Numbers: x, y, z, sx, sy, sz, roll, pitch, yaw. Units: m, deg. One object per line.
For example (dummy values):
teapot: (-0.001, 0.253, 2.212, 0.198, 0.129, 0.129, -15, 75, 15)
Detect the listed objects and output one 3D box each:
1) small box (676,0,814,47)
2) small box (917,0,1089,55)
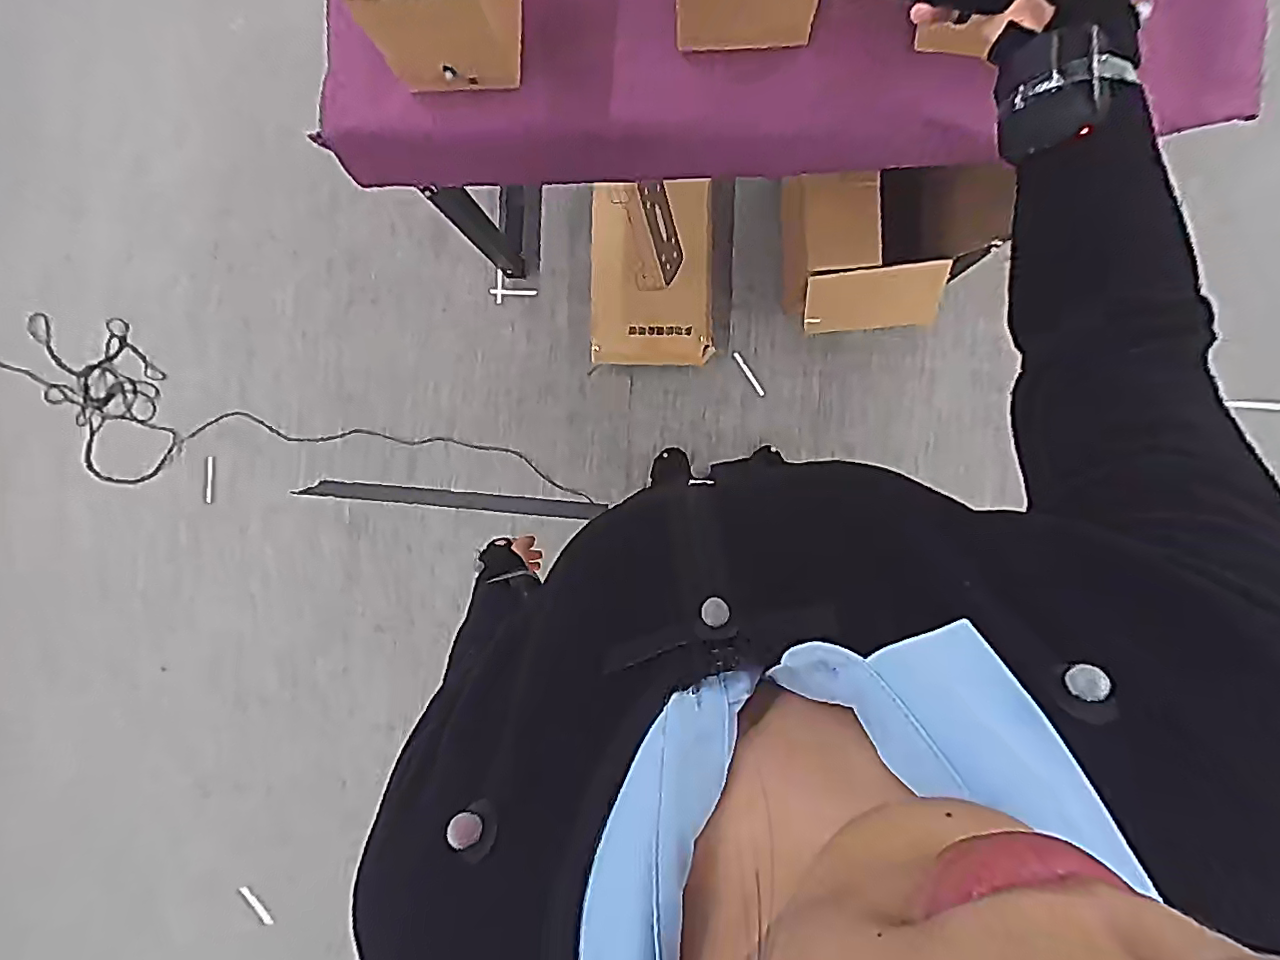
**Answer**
small box: (0.134, -0.670, 0.654, 0.179, 0.176, 0.168, 1, 90, 5)
small box: (0.449, -0.638, 0.626, 0.179, 0.176, 0.168, 9, 93, 5)
